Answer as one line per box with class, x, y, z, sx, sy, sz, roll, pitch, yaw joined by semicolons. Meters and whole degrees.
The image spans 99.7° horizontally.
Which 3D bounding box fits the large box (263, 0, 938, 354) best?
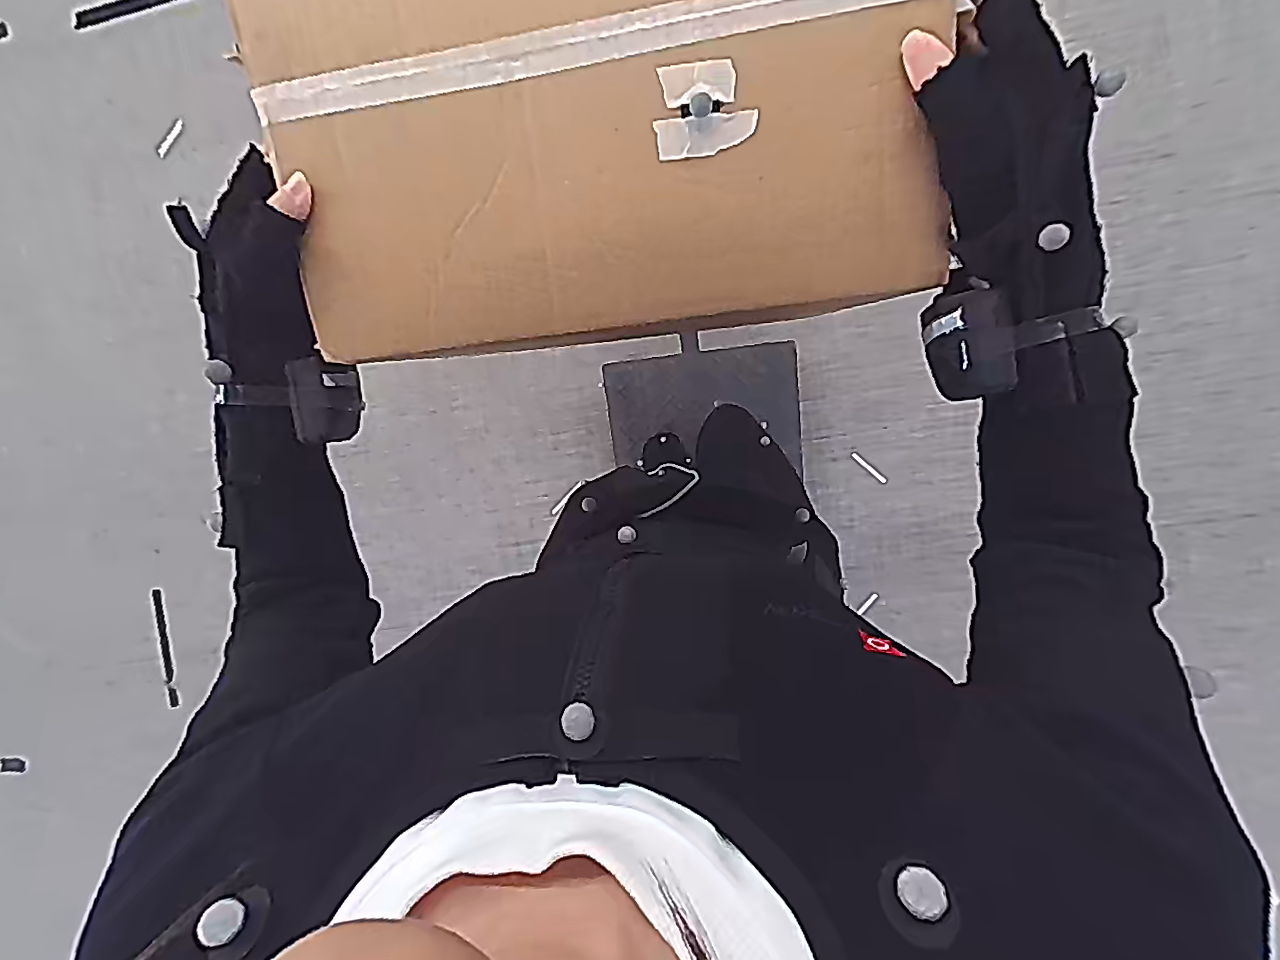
large box;-0.019;-0.294;0.469;0.408;0.320;0.320;-6;104;6
